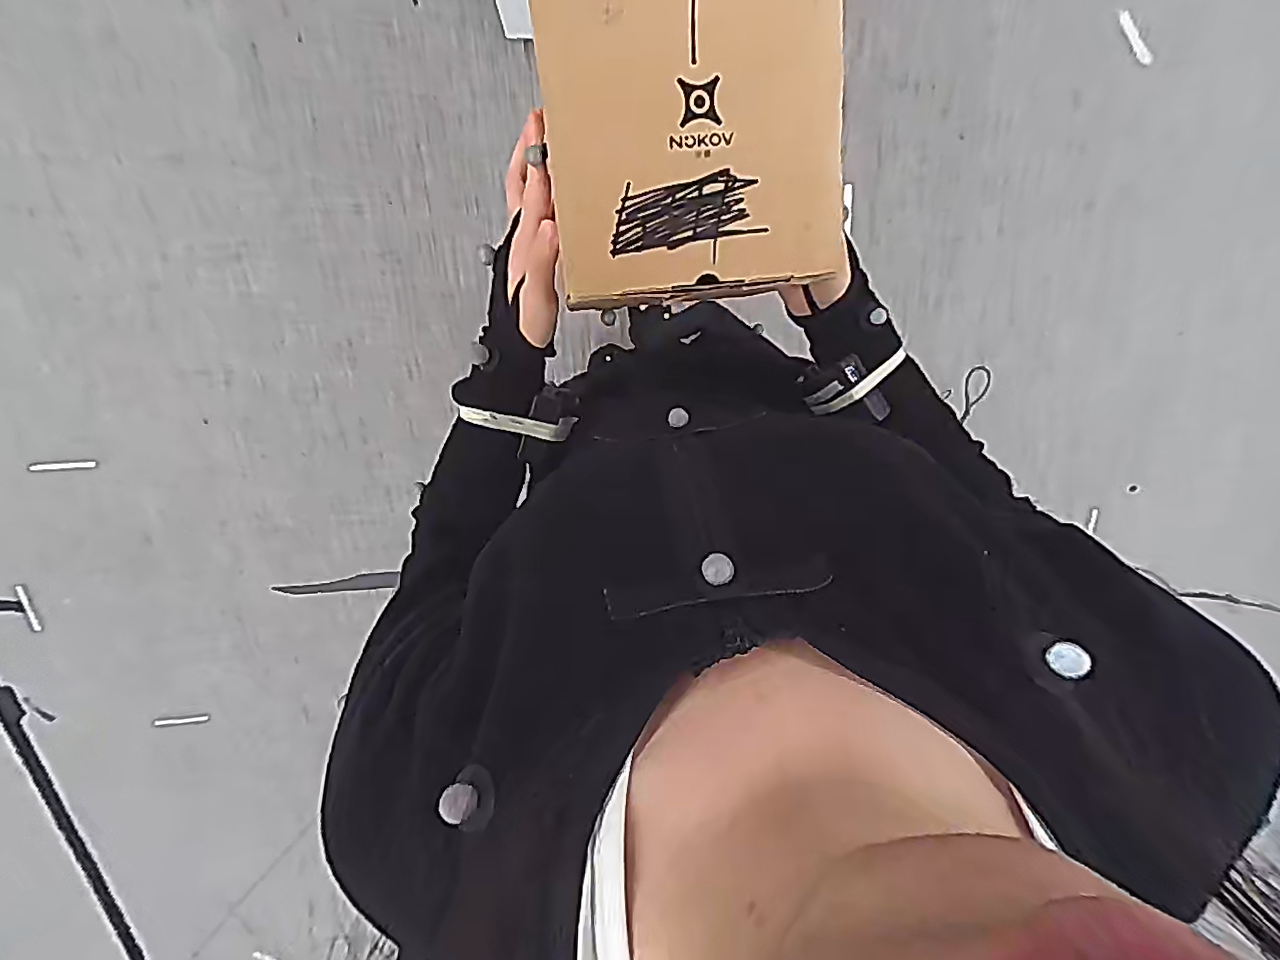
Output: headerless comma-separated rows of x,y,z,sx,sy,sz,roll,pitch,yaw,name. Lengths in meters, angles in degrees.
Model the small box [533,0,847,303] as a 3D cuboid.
0.023,-0.218,0.369,0.168,0.176,0.179,-8,105,-6,small box
